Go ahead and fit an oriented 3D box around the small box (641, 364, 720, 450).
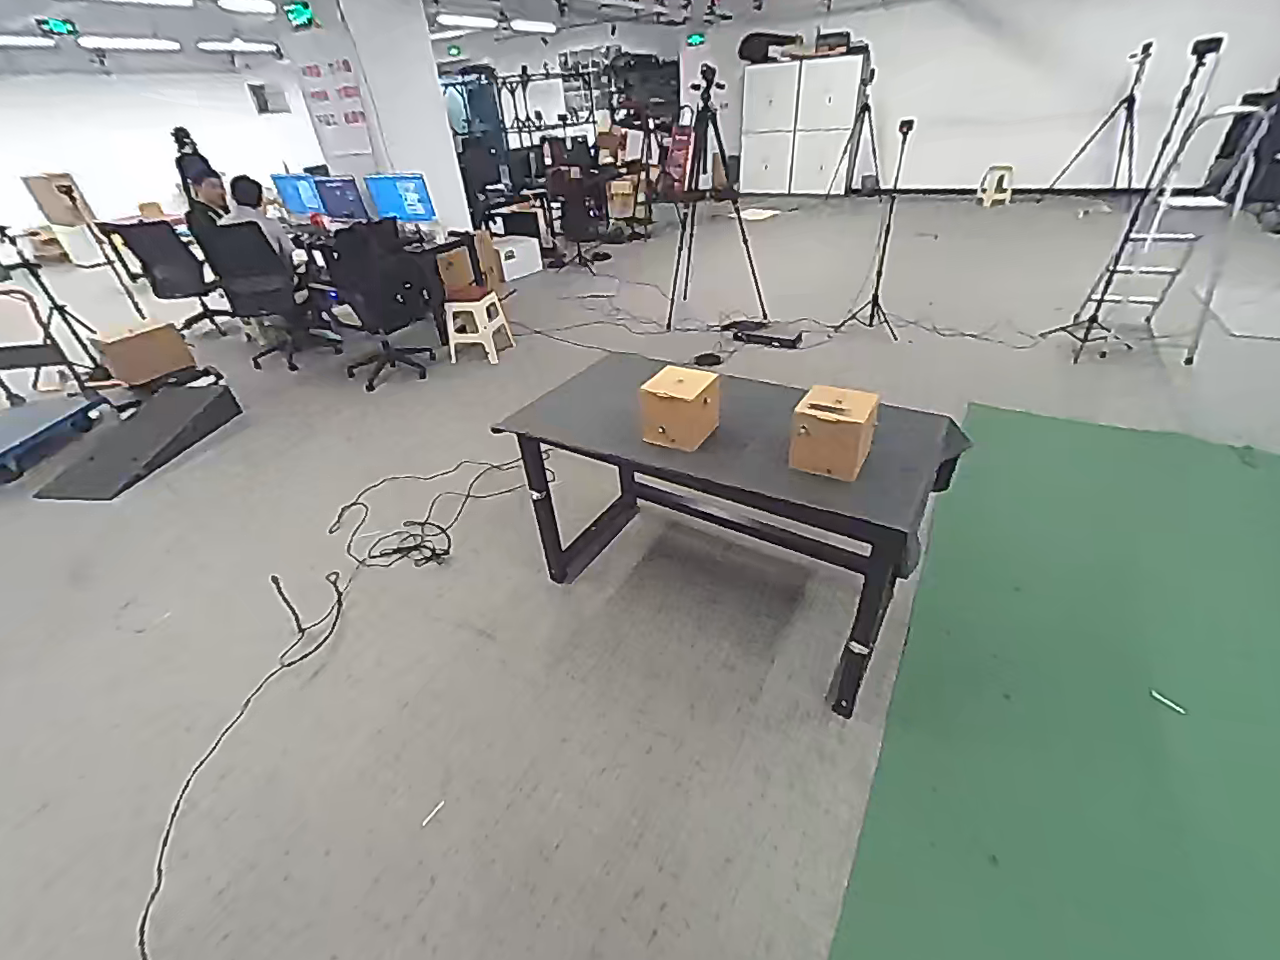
[{"bbox_3d":[0.116,-0.211,1.547,0.168,0.176,0.179,17,41,26],"label":"small box"}]
